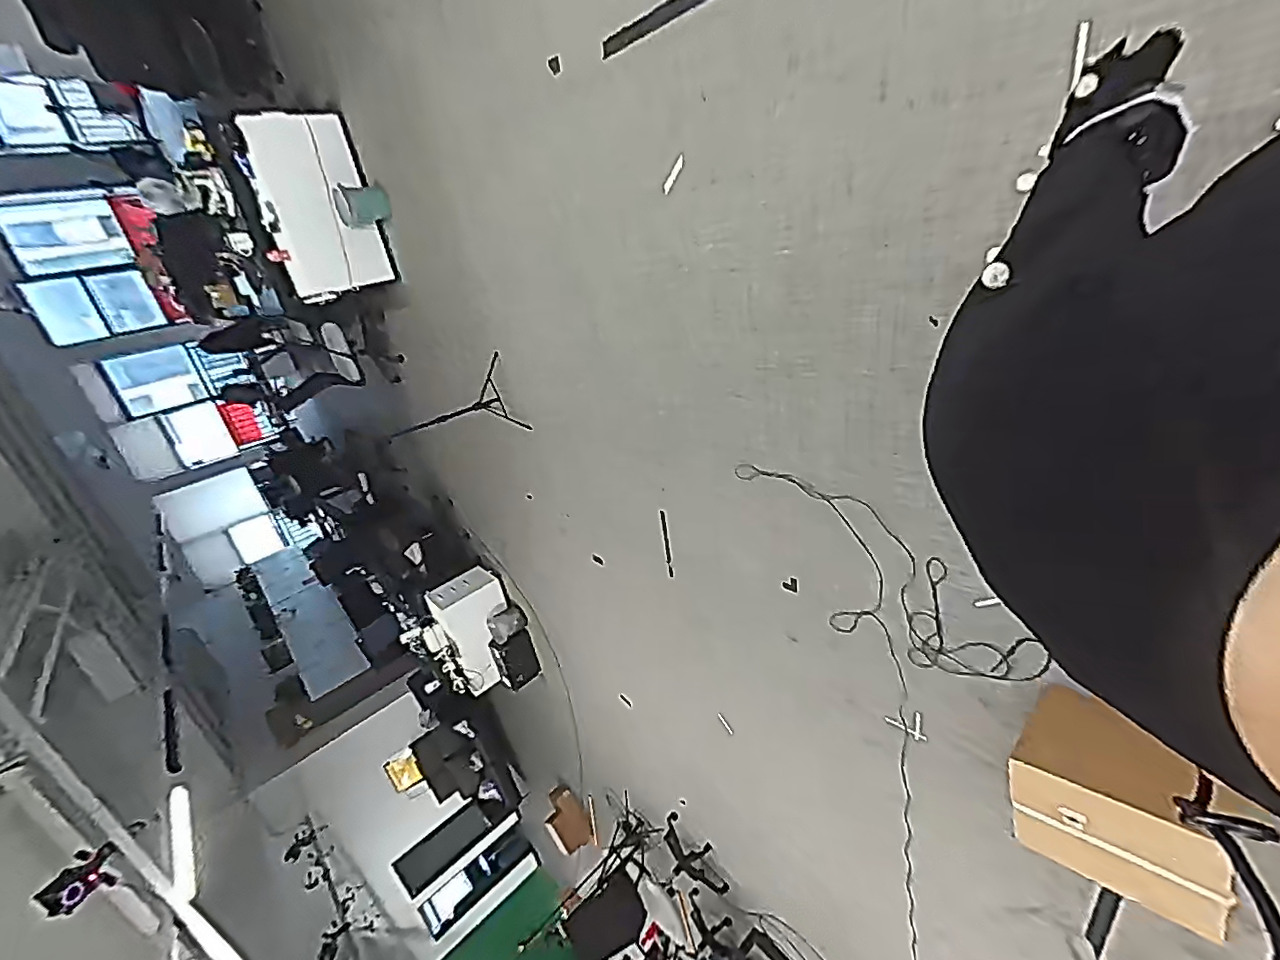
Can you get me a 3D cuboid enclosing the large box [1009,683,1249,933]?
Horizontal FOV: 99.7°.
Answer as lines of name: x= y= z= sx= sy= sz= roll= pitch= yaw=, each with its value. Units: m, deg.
large box: x=1.234 y=0.794 z=1.380 sx=0.408 sy=0.320 sz=0.320 roll=8 pitch=120 yaw=51
